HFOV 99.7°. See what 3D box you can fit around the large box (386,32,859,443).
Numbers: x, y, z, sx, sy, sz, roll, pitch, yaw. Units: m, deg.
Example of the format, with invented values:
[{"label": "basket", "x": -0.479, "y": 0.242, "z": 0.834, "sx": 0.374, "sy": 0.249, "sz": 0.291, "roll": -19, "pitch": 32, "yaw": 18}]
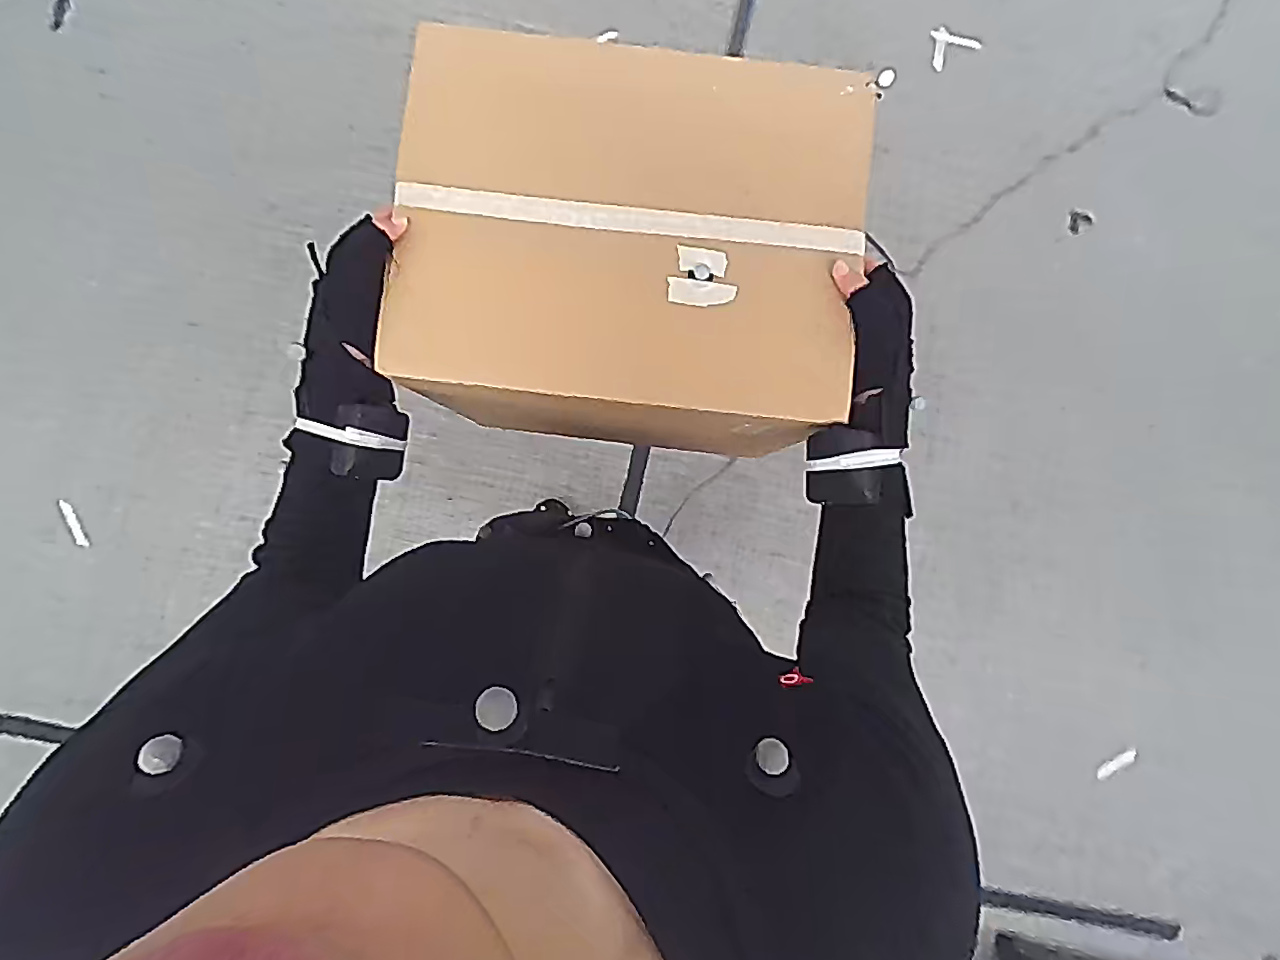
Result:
[{"label": "large box", "x": -0.016, "y": -0.226, "z": 0.625, "sx": 0.408, "sy": 0.320, "sz": 0.320, "roll": 6, "pitch": 88, "yaw": -1}]
